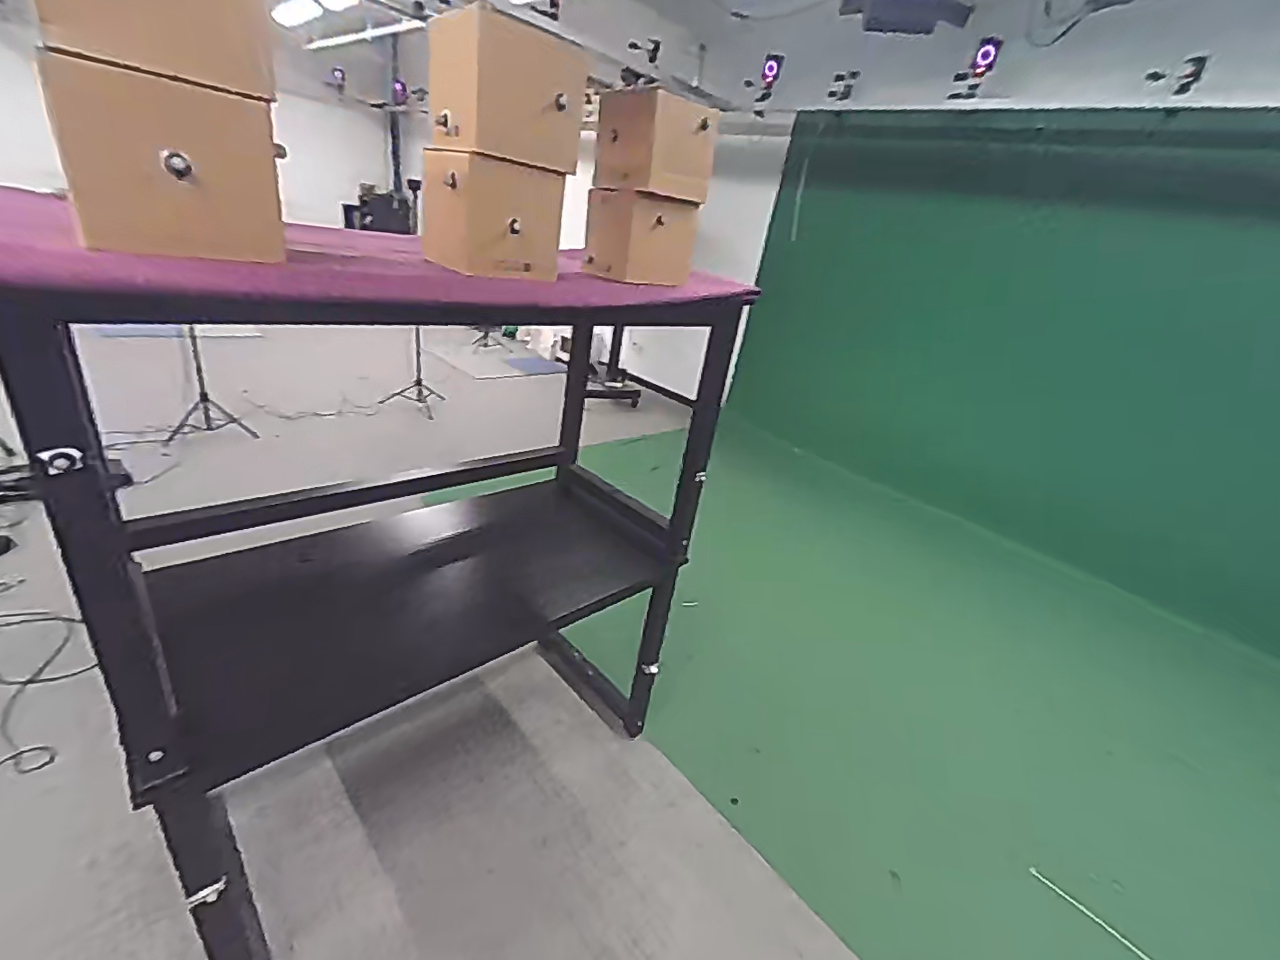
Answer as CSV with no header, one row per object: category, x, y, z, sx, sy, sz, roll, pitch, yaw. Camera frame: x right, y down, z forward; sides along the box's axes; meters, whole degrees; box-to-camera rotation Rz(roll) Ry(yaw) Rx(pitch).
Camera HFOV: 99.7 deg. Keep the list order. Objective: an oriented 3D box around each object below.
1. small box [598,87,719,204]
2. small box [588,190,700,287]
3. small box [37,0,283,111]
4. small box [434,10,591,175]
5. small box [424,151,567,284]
small box,0.030,-0.649,1.071,0.179,0.176,0.168,-14,33,-40
small box,0.001,-0.509,1.149,0.179,0.176,0.168,-11,31,-37
small box,-0.484,-0.488,0.538,0.179,0.176,0.168,-14,35,-40
small box,-0.199,-0.569,0.822,0.179,0.176,0.168,-14,33,-40
small box,-0.241,-0.427,0.891,0.168,0.176,0.179,-12,33,-41
